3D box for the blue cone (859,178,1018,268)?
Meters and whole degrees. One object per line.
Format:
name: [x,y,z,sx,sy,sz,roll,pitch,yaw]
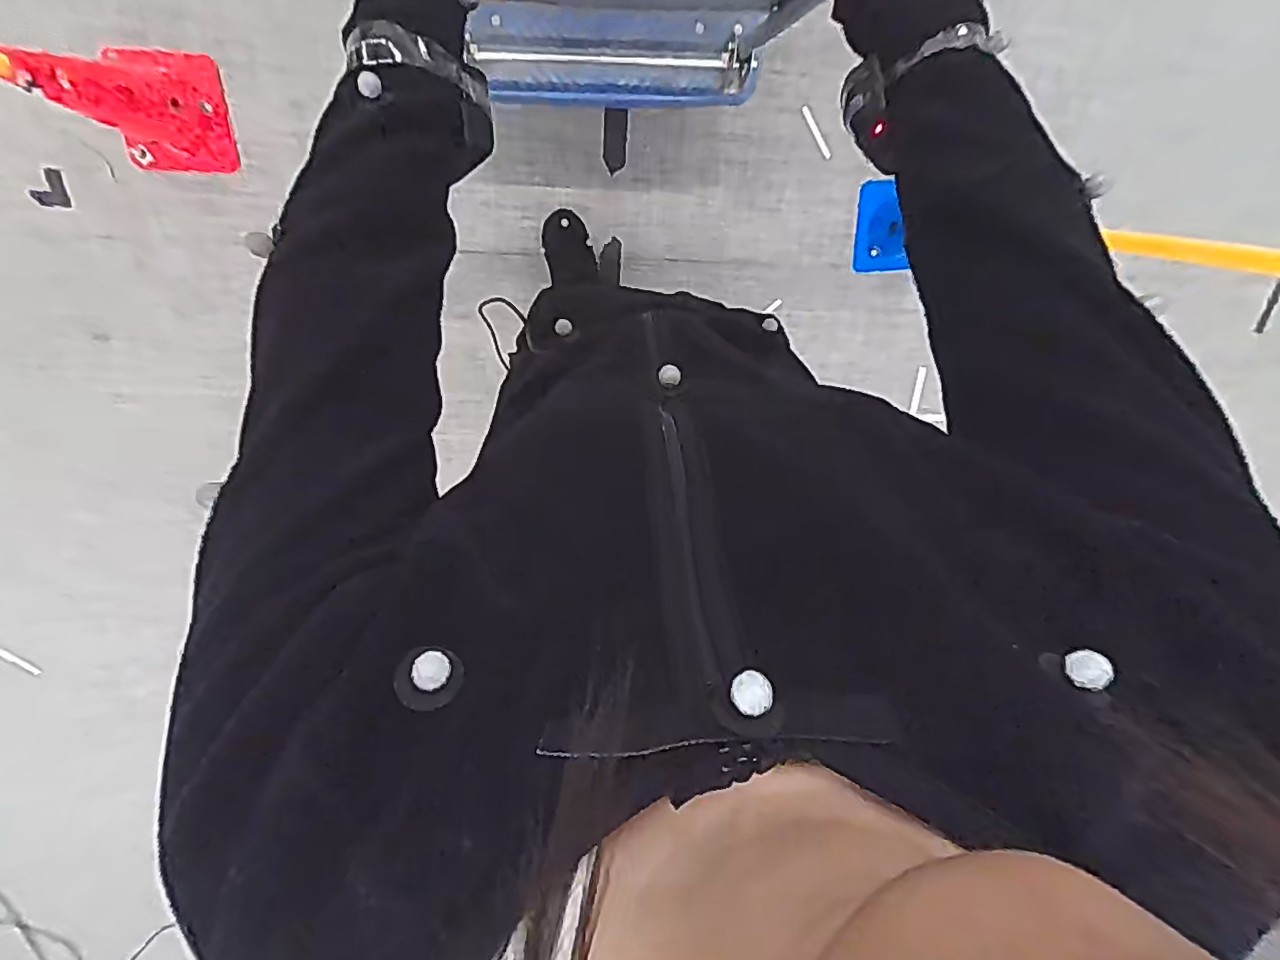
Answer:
blue cone: [0.639,-0.547,1.141,0.193,0.380,0.192,-4,114,-6]
